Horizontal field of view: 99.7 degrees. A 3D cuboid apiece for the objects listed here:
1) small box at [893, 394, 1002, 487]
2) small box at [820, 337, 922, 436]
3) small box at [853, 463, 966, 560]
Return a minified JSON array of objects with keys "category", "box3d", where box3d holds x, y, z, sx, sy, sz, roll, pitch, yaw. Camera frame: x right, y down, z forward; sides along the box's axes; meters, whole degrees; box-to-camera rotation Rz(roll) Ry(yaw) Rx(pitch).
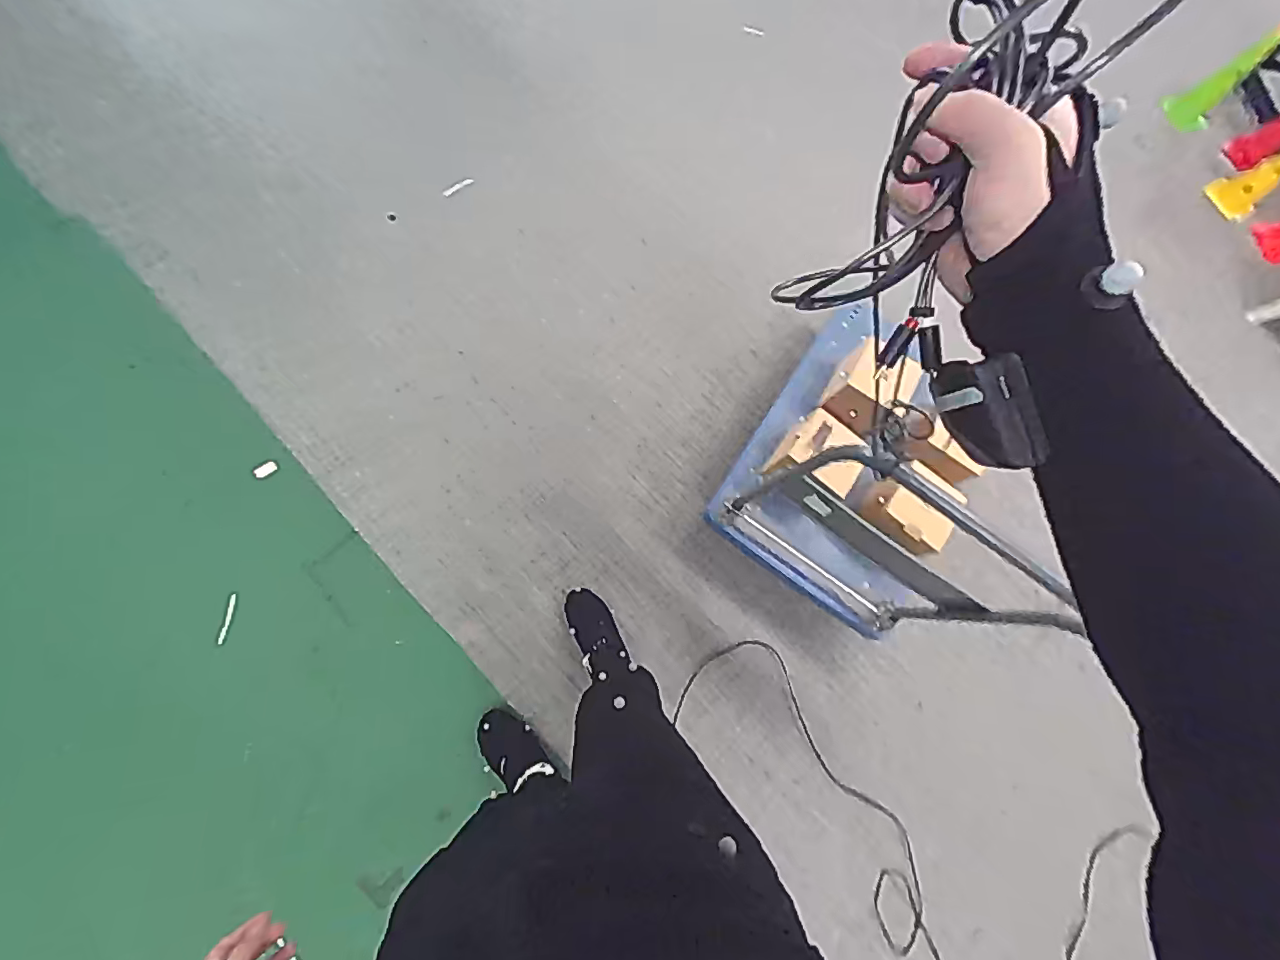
[{"category":"small box","box3d":[0.831,-0.098,1.478,0.168,0.176,0.179,34,73,1]},{"category":"small box","box3d":[0.623,-0.248,1.482,0.168,0.176,0.179,32,72,-1]},{"category":"small box","box3d":[0.690,0.088,1.404,0.168,0.176,0.179,37,73,1]}]
